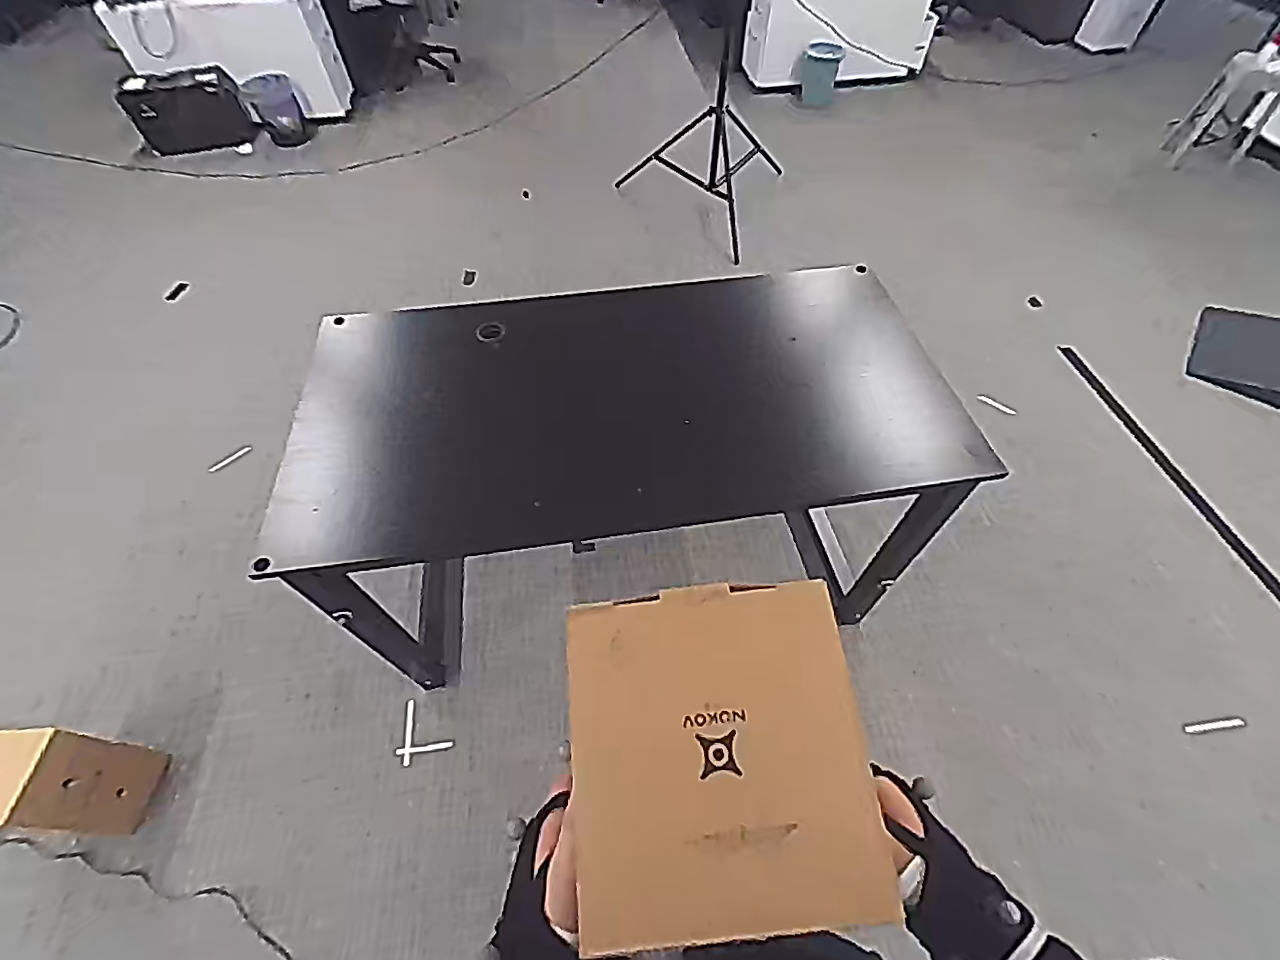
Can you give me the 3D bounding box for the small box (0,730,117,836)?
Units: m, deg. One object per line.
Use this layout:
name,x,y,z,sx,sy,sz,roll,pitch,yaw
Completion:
small box,-1.224,0.607,1.079,0.179,0.176,0.168,-3,53,-1

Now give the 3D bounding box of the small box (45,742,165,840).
small box,-1.233,0.699,1.215,0.168,0.176,0.179,0,55,1

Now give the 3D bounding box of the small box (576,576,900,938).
small box,0.048,0.178,0.382,0.168,0.176,0.179,-6,67,0
